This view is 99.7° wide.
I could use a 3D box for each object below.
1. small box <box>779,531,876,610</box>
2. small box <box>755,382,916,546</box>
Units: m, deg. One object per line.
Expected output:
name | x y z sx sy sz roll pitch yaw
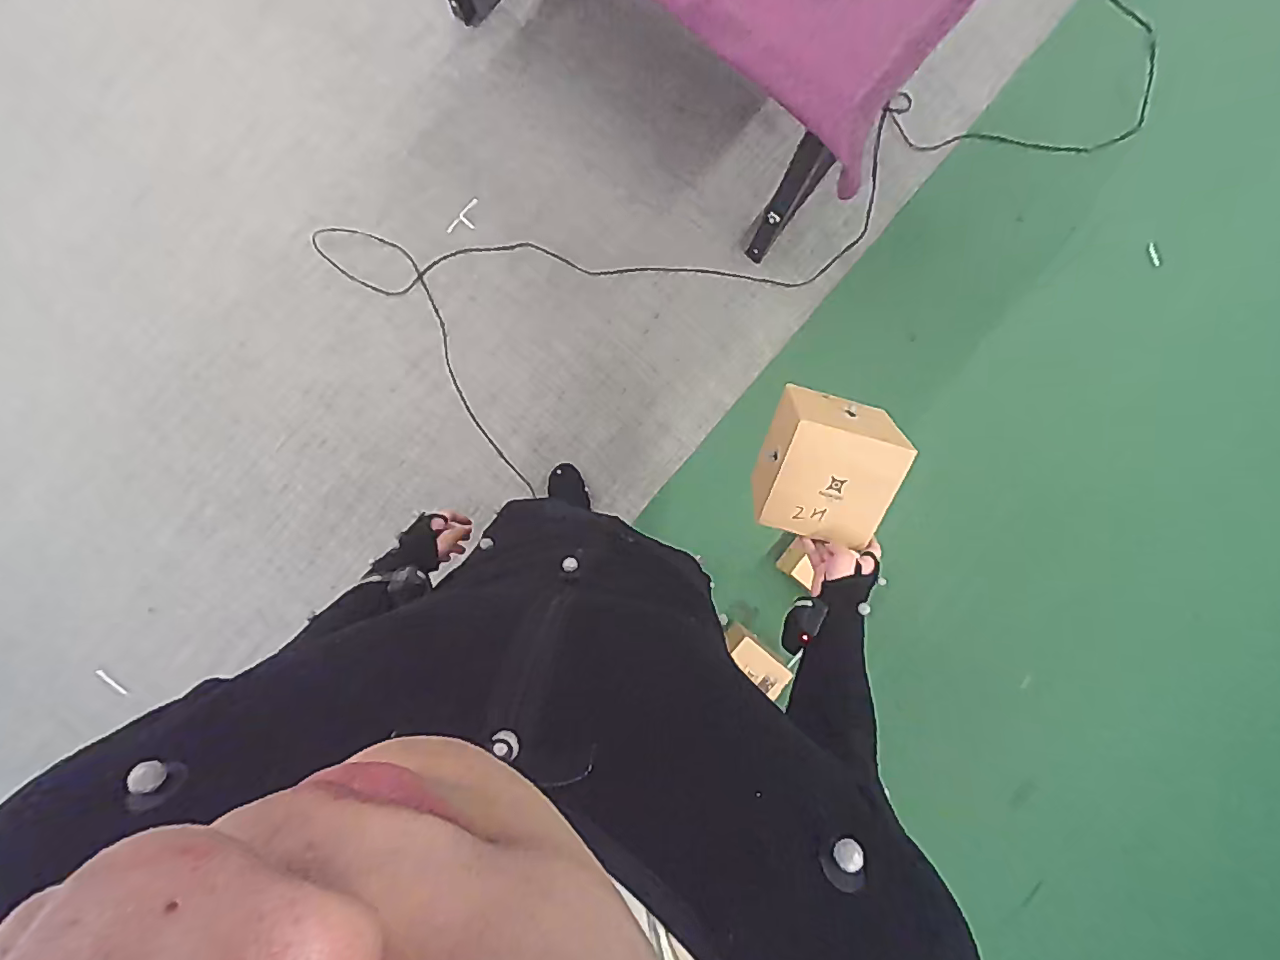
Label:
small box | 0.533 0.246 1.567 0.179 0.176 0.168 39 89 -2
small box | 0.279 -0.033 0.825 0.168 0.176 0.179 16 119 1
